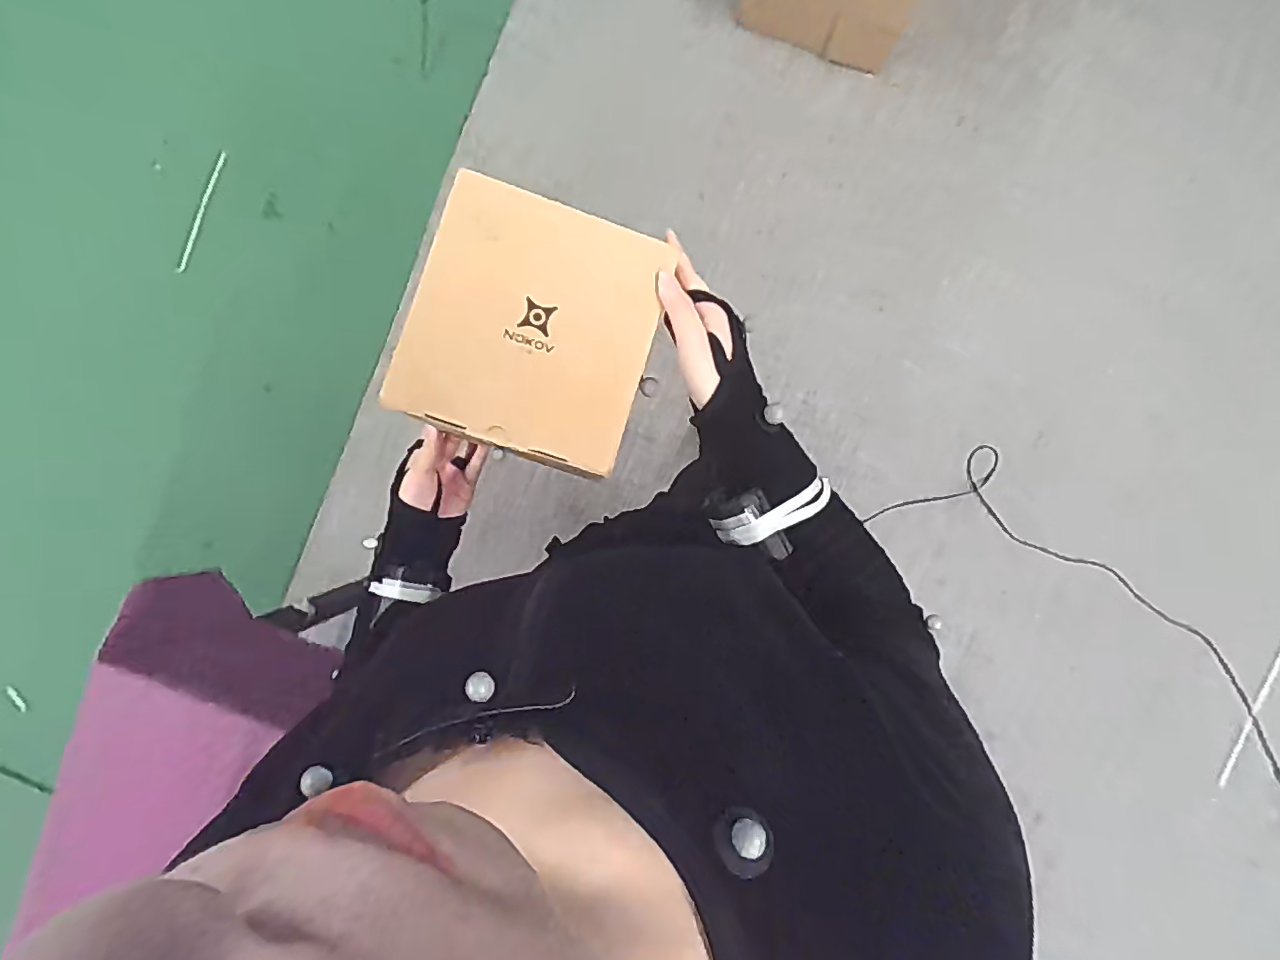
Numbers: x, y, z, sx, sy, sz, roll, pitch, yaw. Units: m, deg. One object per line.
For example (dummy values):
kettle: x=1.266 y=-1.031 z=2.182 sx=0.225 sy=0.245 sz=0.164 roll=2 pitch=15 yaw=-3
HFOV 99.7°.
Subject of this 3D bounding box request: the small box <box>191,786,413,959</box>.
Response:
small box: x=-0.445 y=0.561 z=0.737 sx=0.179 sy=0.176 sz=0.168 roll=22 pitch=93 yaw=4
